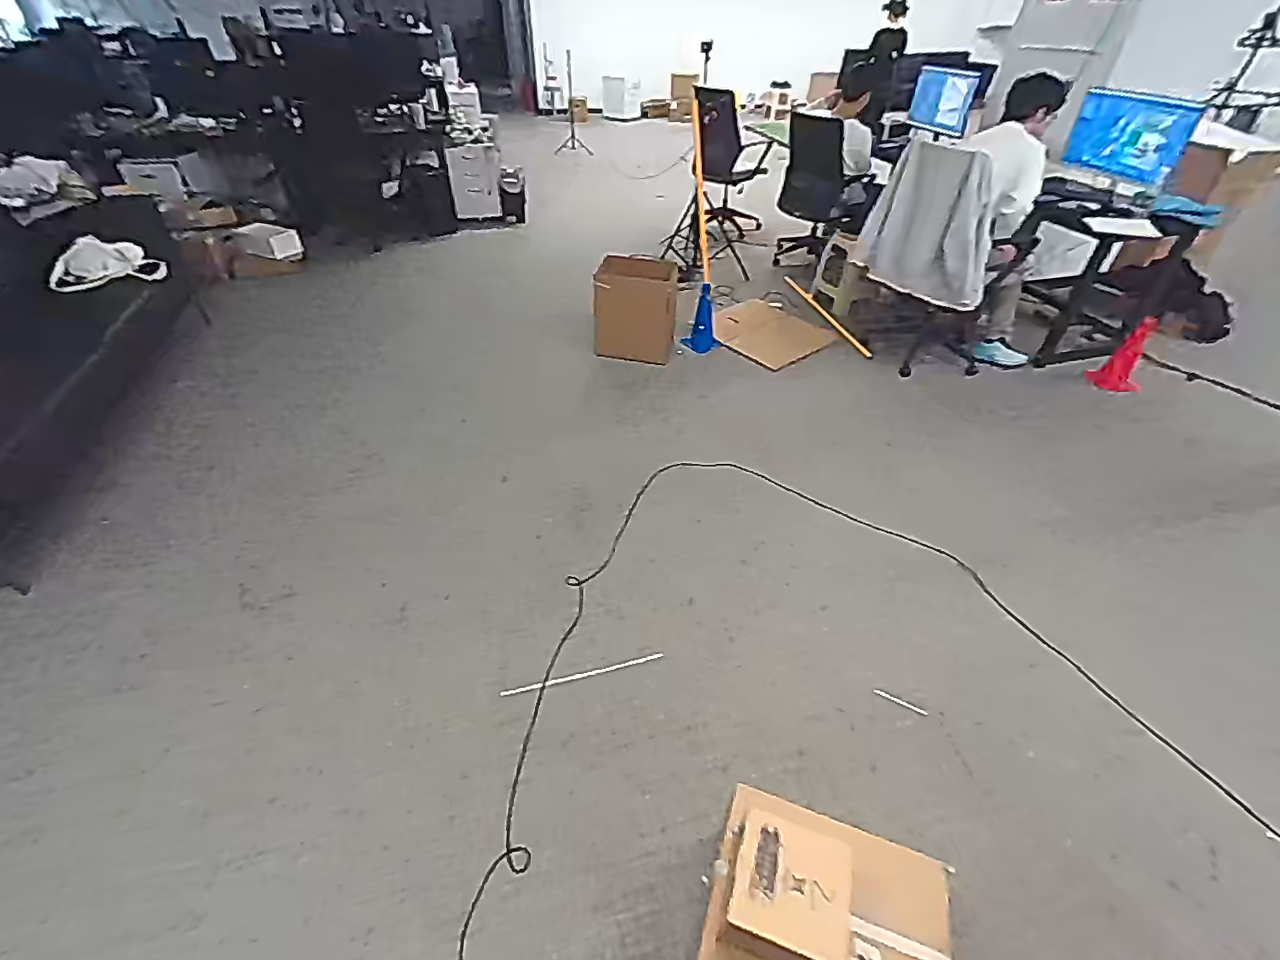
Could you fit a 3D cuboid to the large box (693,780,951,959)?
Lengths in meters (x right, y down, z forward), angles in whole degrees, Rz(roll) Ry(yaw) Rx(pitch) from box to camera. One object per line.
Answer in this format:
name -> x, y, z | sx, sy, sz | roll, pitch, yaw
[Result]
large box -> 0.335, 0.867, 1.059 | 0.408, 0.320, 0.320 | 15, 45, 14
